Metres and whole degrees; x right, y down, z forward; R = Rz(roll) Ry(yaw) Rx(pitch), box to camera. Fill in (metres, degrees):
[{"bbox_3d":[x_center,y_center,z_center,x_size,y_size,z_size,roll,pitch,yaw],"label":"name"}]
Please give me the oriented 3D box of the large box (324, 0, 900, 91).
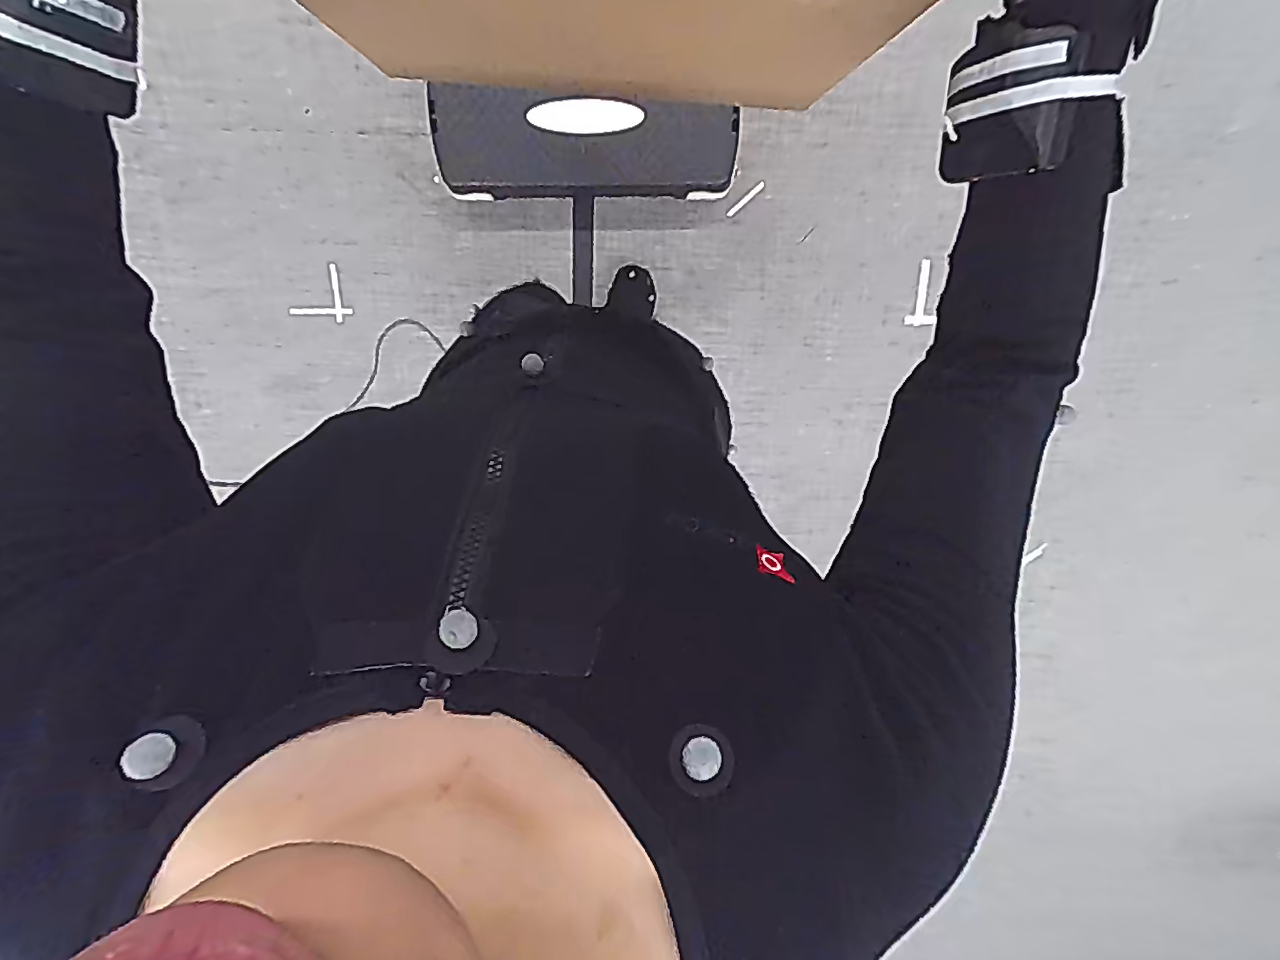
[{"bbox_3d":[-0.023,-0.469,0.326,0.408,0.320,0.320,1,113,-4],"label":"large box"}]
